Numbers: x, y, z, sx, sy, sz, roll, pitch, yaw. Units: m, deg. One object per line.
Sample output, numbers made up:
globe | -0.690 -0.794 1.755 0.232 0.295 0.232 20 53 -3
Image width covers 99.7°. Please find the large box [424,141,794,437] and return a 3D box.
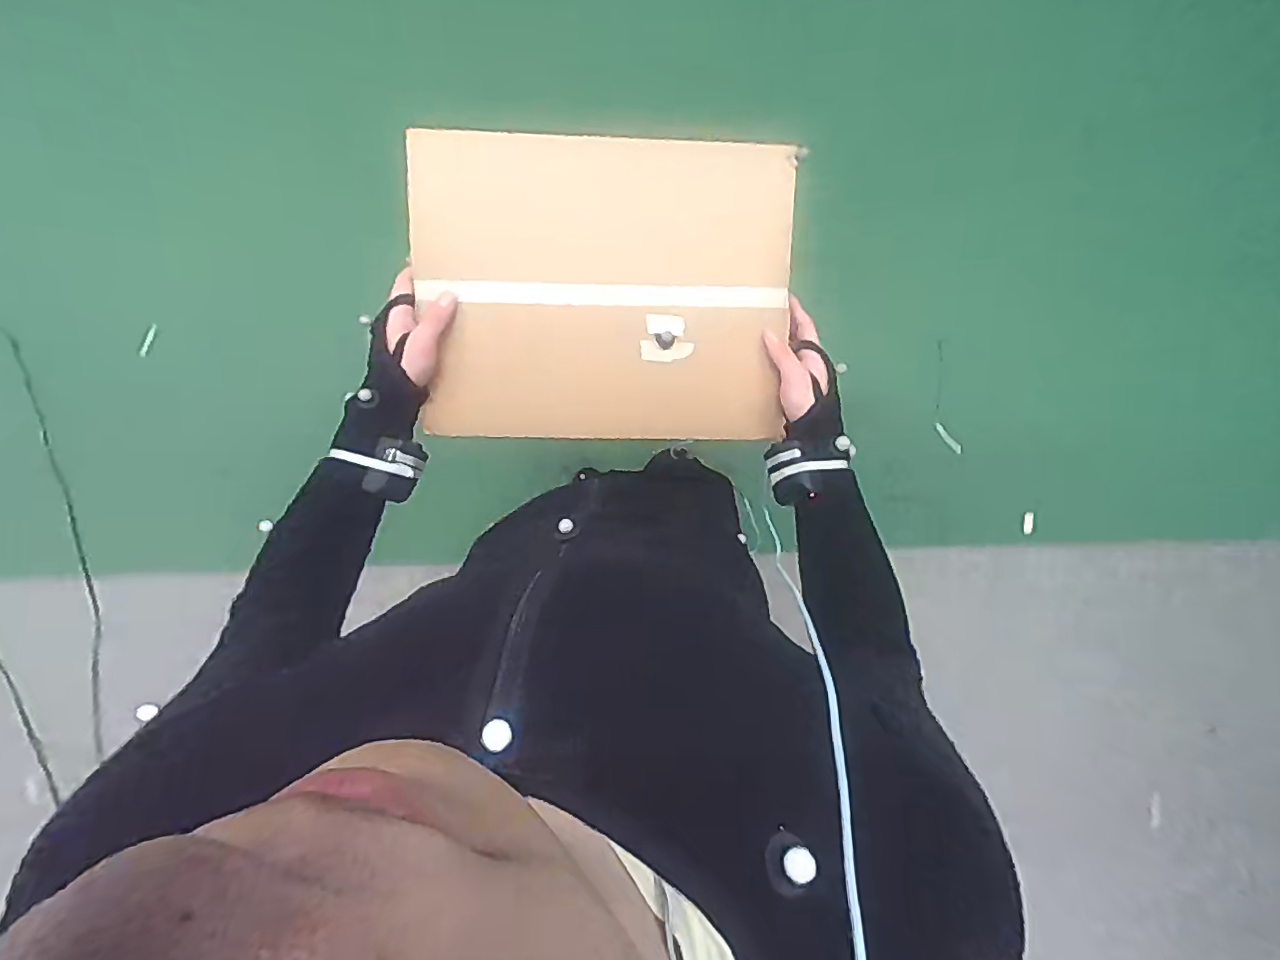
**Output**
large box | -0.041 -0.227 0.746 0.408 0.320 0.320 1 100 -3
